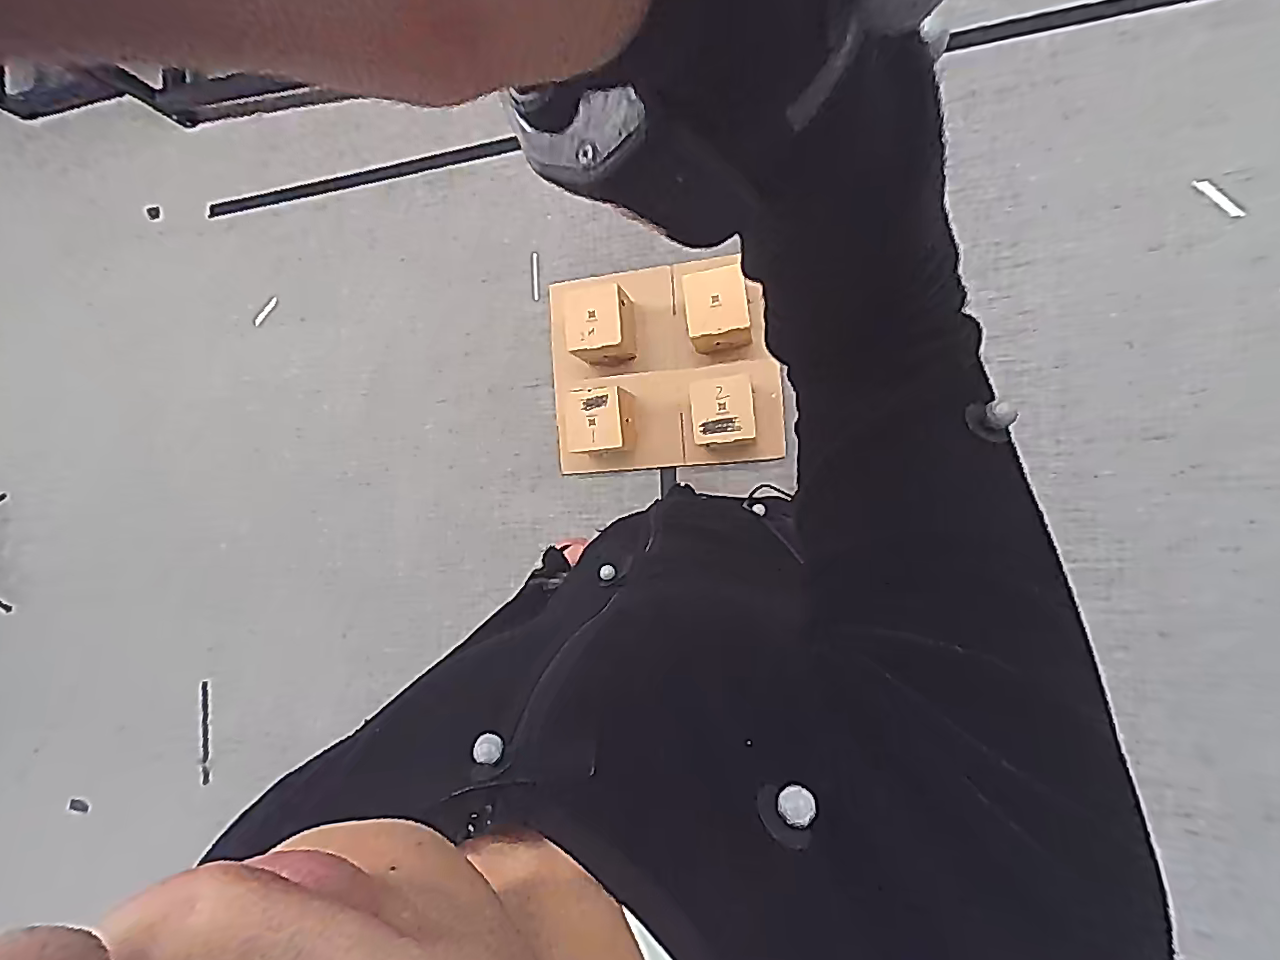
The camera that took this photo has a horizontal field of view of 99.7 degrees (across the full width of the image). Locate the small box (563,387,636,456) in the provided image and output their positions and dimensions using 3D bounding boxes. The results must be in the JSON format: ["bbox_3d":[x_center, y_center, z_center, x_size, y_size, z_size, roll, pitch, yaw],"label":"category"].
[{"bbox_3d":[-0.116,-0.168,1.599,0.168,0.176,0.179,-5,90,14],"label":"small box"}]

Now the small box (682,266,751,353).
[{"bbox_3d":[0.218,-0.473,1.523,0.168,0.176,0.179,-8,88,14],"label":"small box"}]

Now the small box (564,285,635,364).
[{"bbox_3d":[-0.116,-0.453,1.598,0.168,0.176,0.179,-4,89,15],"label":"small box"}]
